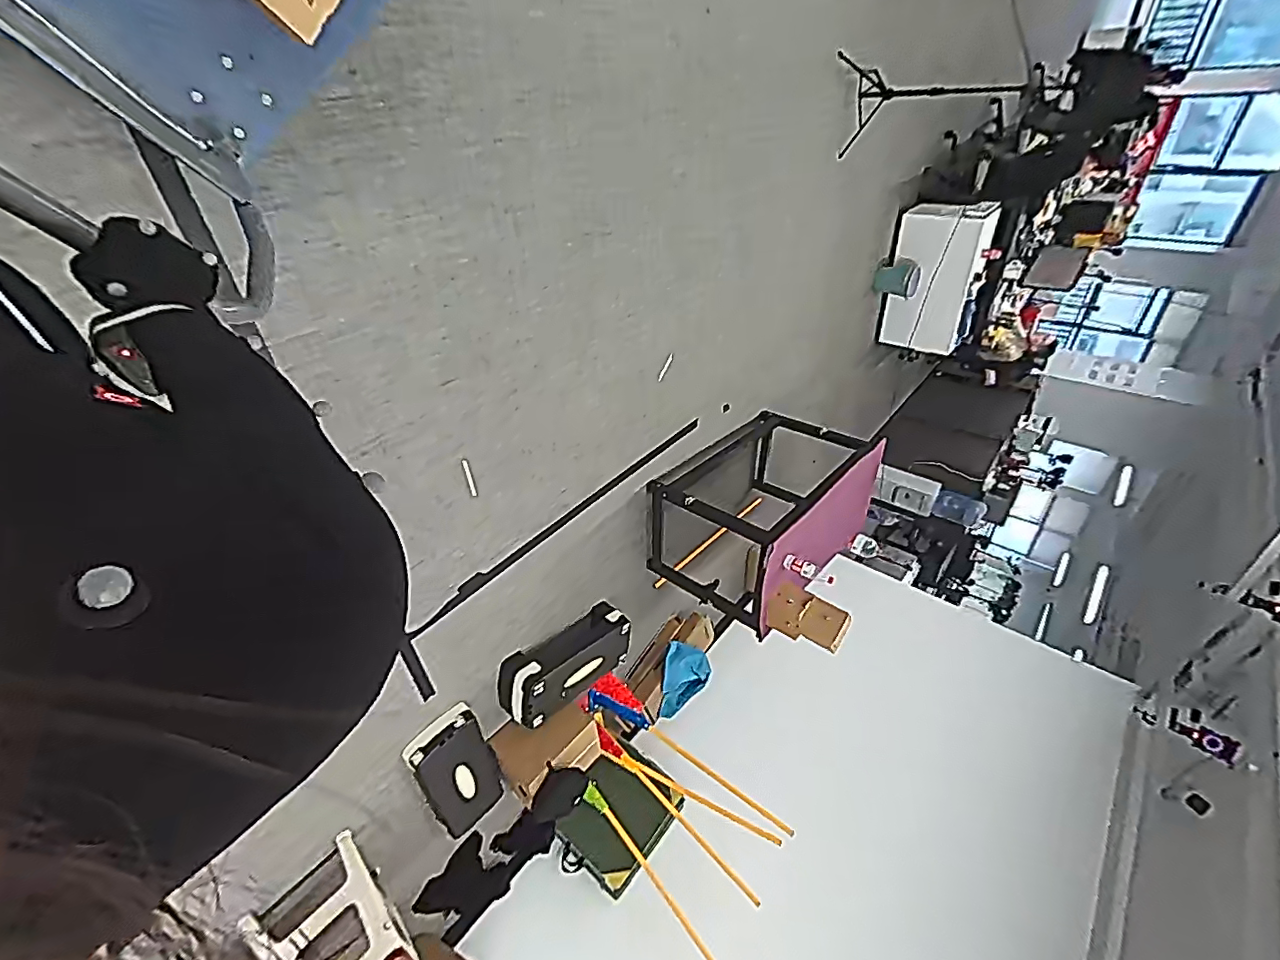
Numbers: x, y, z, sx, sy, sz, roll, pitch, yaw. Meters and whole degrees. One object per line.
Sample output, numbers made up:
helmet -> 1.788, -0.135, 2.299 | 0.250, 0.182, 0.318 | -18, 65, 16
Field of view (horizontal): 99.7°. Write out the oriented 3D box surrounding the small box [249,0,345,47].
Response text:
small box -> -0.564, -0.822, 0.835 | 0.168, 0.176, 0.179 | -50, 144, 7
